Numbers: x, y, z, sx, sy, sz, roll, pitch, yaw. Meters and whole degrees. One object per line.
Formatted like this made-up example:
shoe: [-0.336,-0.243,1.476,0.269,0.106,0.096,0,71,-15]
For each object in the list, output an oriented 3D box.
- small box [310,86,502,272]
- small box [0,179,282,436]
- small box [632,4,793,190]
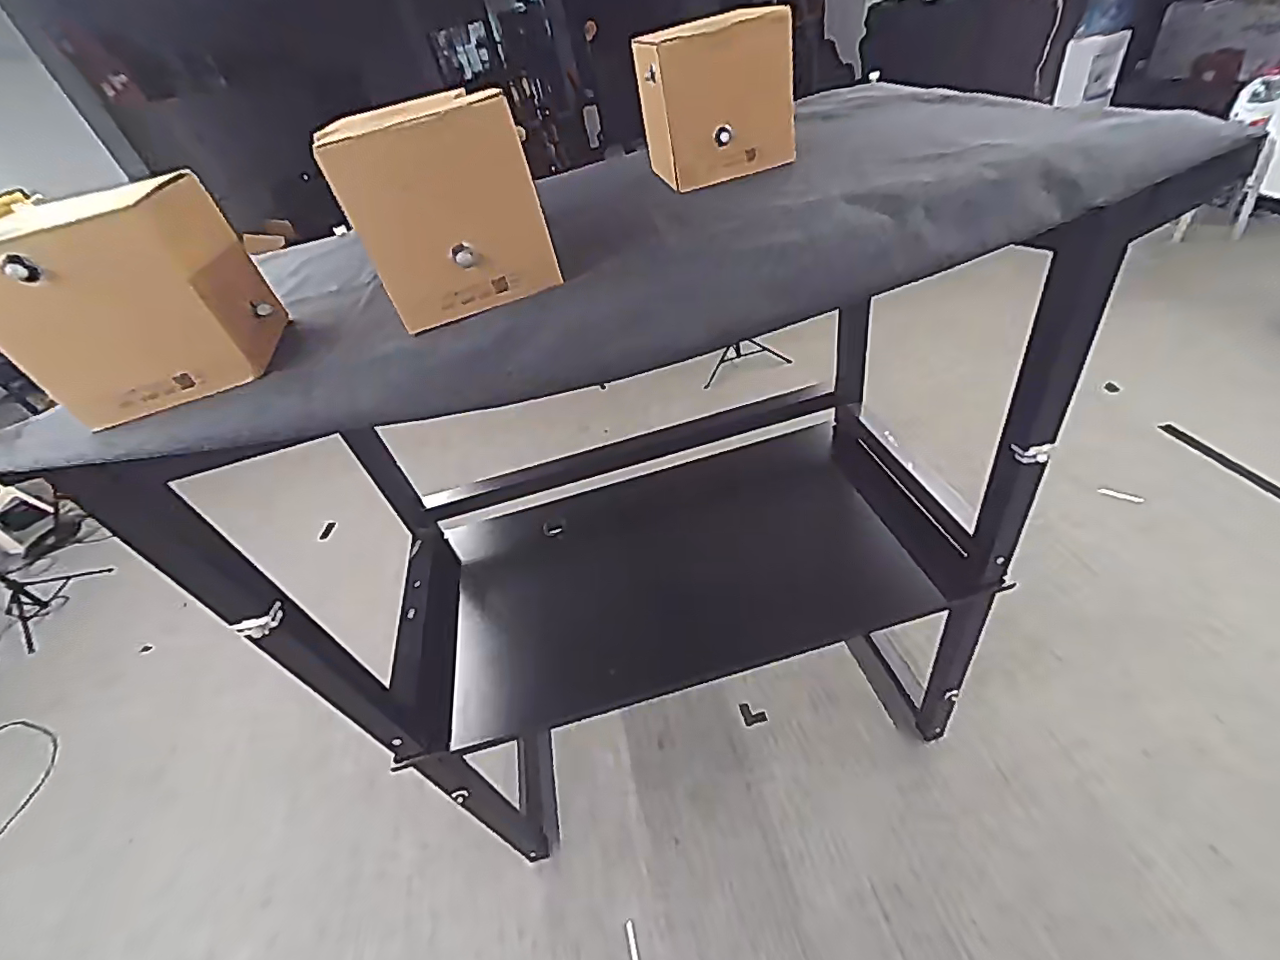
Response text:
small box: [-0.292,-0.396,0.723,0.168,0.176,0.179,-14,42,0]
small box: [-0.492,-0.172,0.532,0.168,0.176,0.179,-21,41,-7]
small box: [0.097,-0.516,0.736,0.168,0.176,0.179,-16,42,-1]
